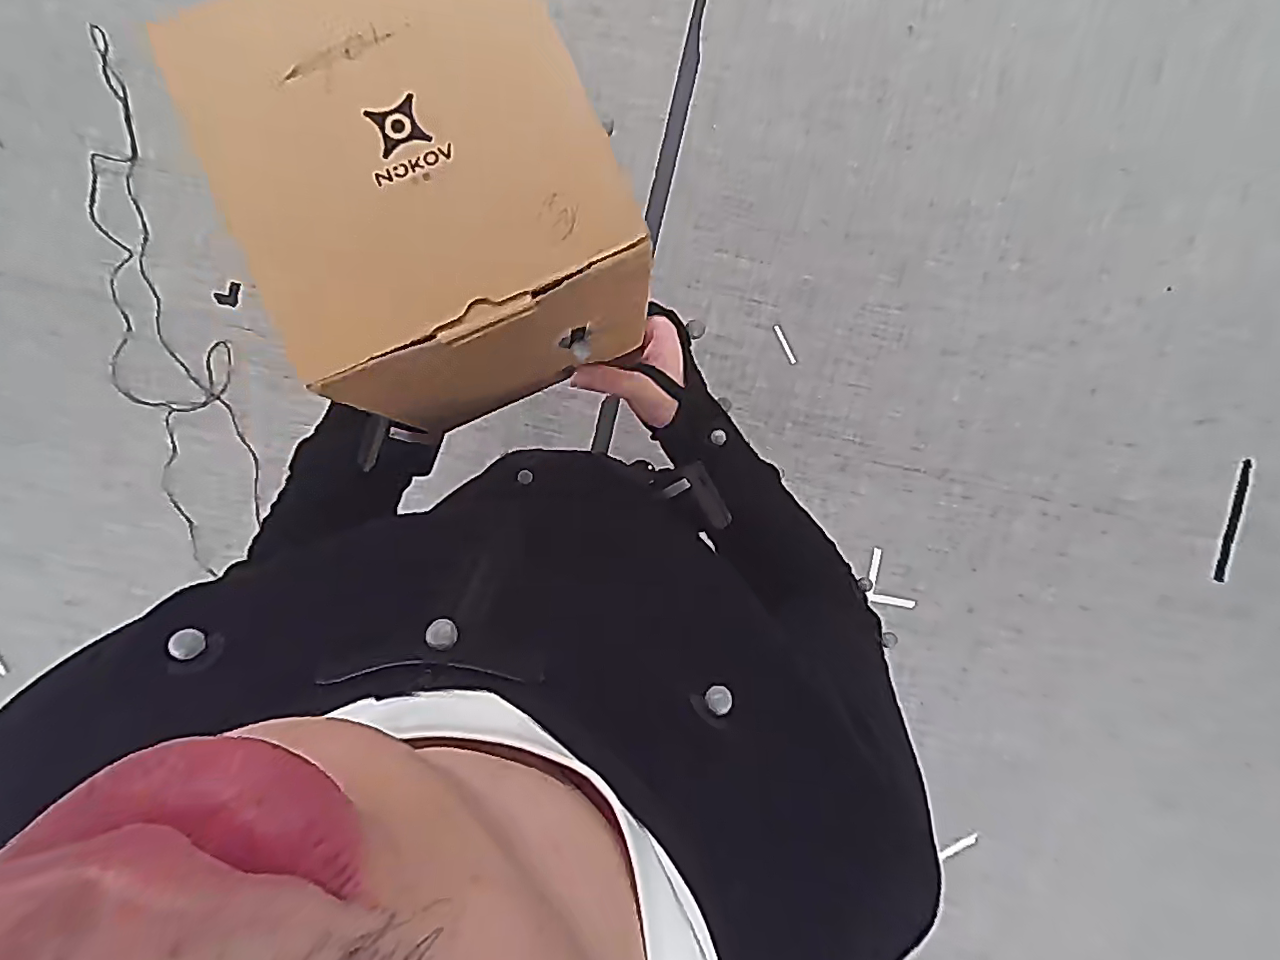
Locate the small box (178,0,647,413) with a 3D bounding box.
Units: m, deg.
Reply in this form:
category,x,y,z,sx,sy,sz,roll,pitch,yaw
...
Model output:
category,x,y,z,sx,sy,sz,roll,pitch,yaw
small box,-0.105,-0.151,0.328,0.168,0.176,0.179,-25,89,-3
